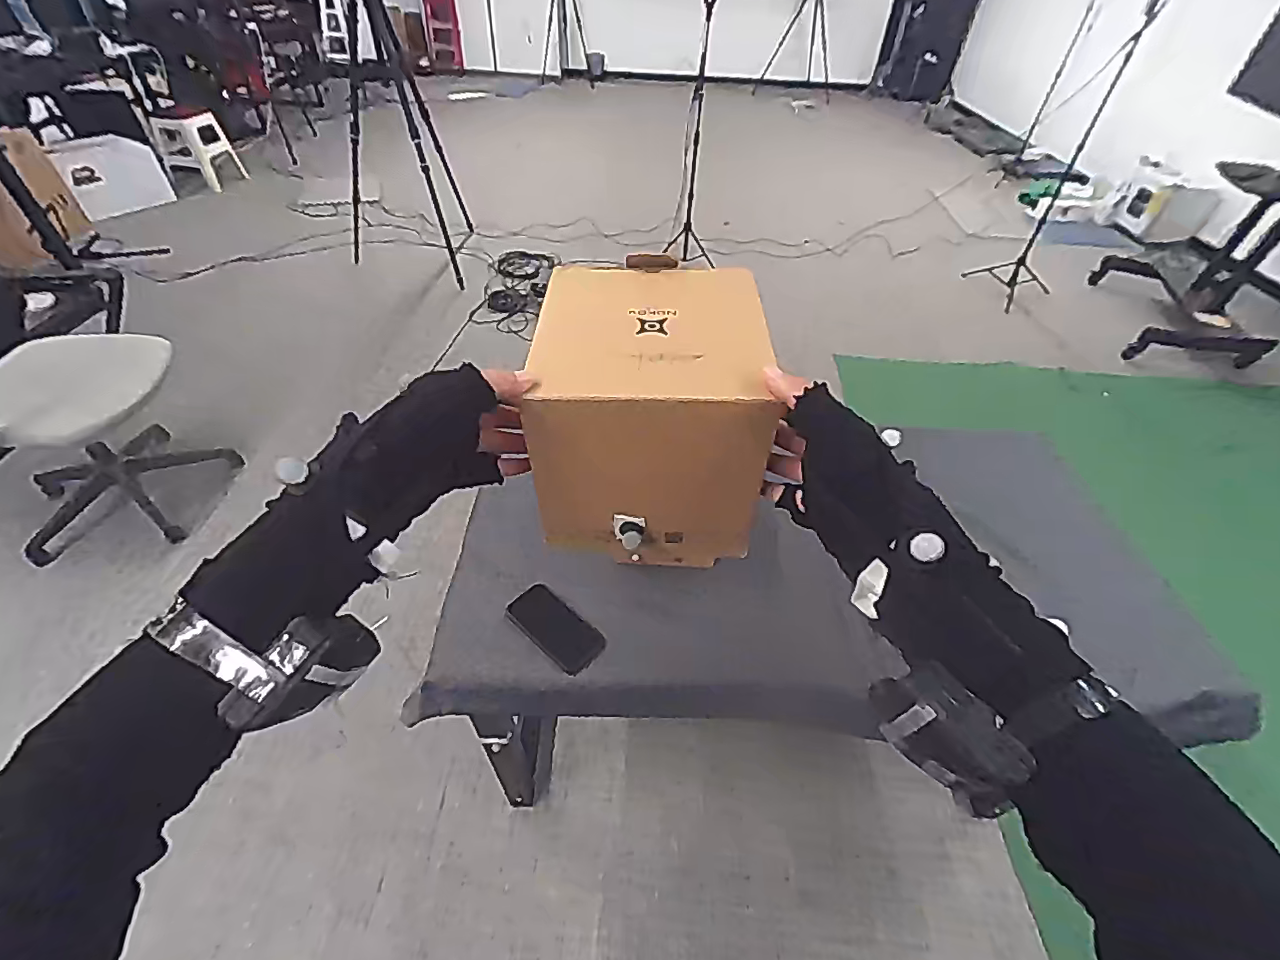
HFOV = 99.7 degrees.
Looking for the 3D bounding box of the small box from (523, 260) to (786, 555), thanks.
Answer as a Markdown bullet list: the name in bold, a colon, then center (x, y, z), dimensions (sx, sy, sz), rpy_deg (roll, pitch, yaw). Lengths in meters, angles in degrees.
- **small box**: center (0.011, -0.060, 0.445), dimensions (0.168, 0.176, 0.179), rpy_deg (1, 48, 1)
